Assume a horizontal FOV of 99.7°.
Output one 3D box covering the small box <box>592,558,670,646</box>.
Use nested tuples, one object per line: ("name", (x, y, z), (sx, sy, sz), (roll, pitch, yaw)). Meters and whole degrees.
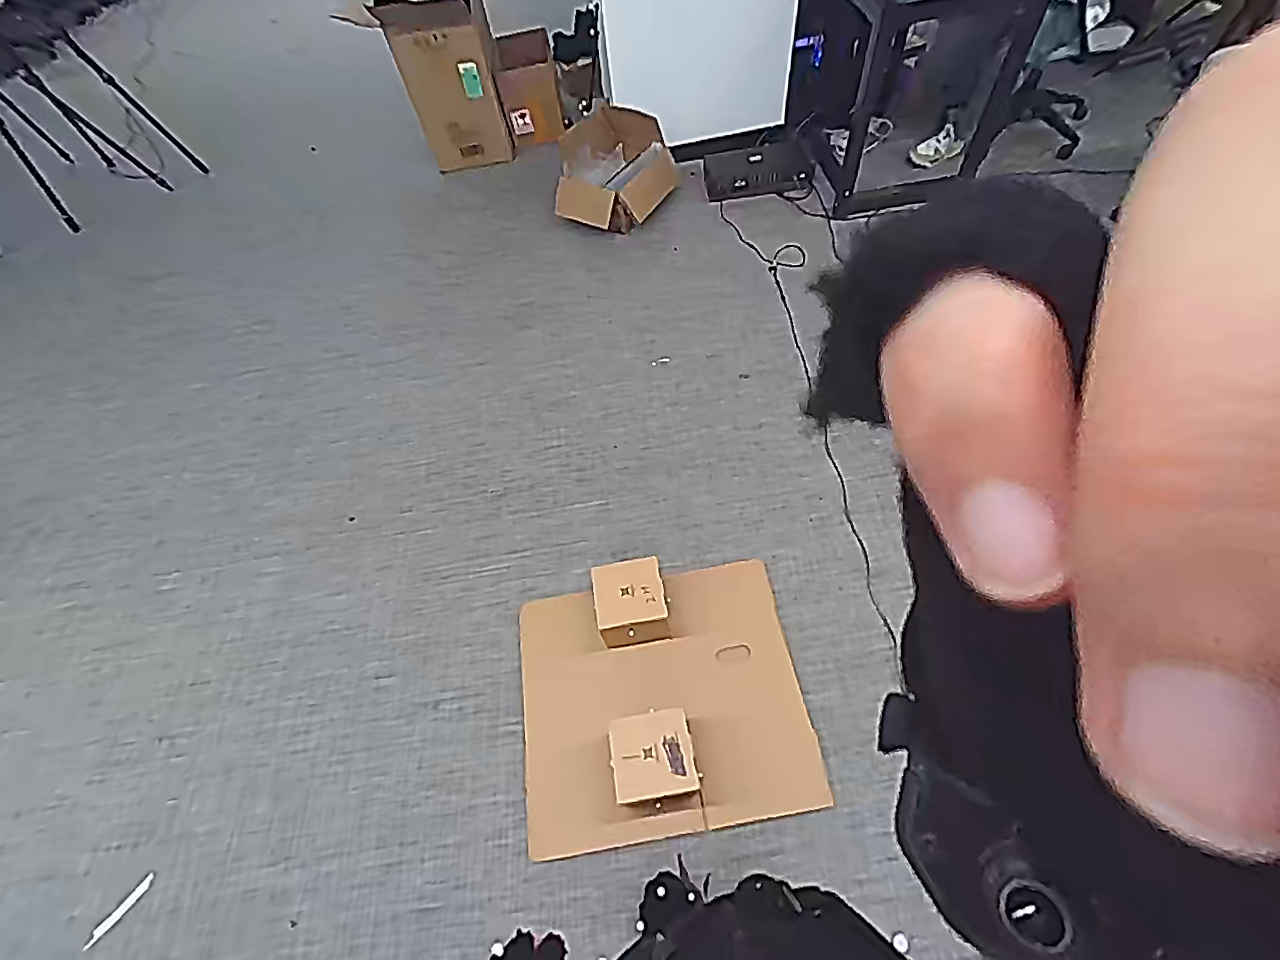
("small box", (-0.022, 0.324, 1.420), (0.179, 0.176, 0.168), (-10, 58, -1))

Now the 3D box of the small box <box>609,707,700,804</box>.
("small box", (0.033, 0.627, 1.227), (0.179, 0.176, 0.168), (-11, 58, 0))
